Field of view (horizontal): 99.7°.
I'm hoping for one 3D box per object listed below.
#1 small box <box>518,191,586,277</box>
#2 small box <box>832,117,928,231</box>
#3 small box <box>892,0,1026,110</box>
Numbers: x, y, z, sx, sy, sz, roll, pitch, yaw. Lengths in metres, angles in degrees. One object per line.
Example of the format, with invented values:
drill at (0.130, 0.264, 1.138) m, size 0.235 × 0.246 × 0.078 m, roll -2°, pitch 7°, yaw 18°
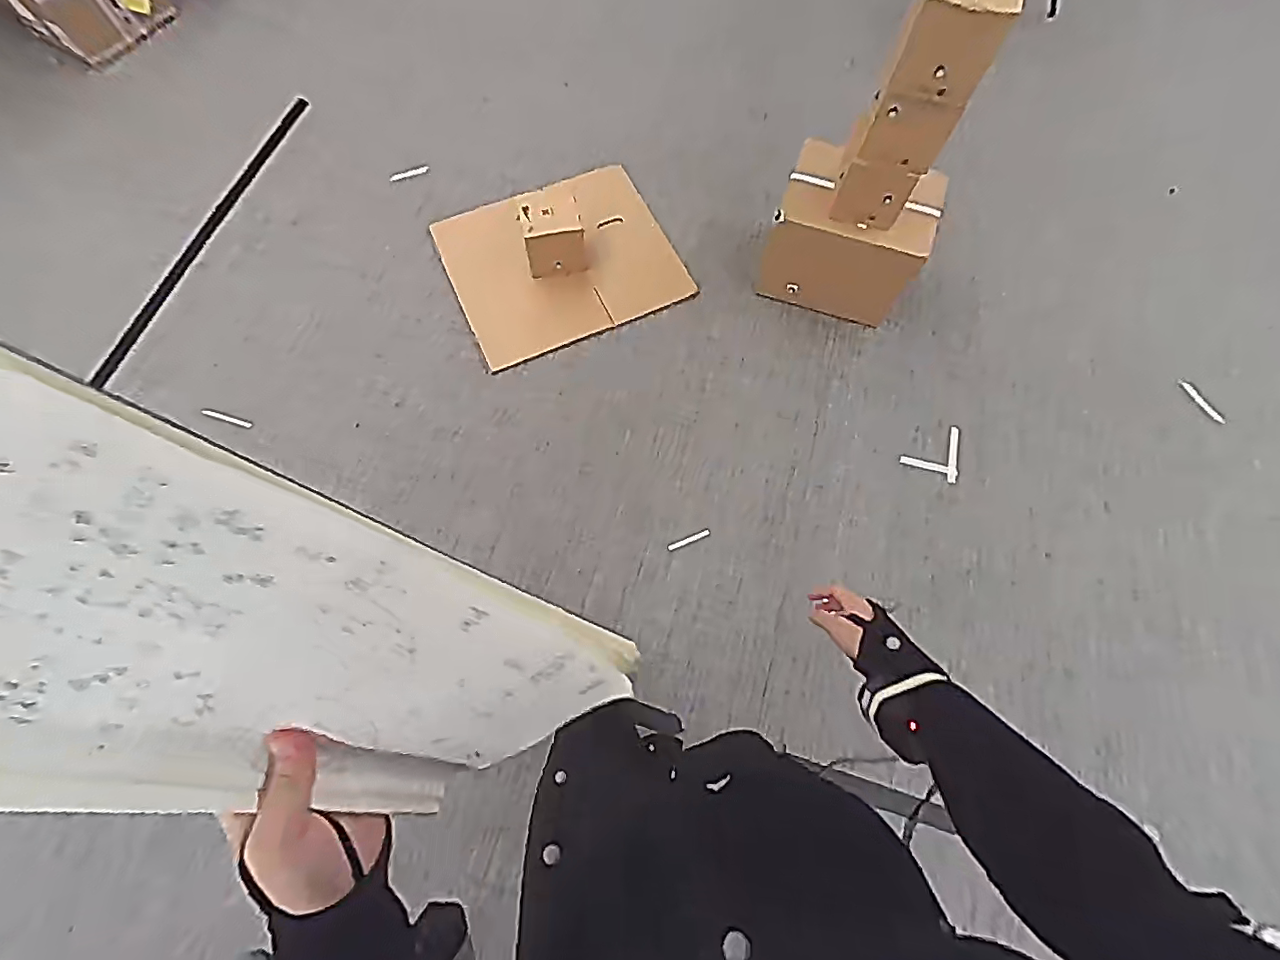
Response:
small box at (-0.267, -0.751, 1.659) m, size 0.179 × 0.176 × 0.168 m, roll -12°, pitch 70°, yaw -8°
small box at (0.599, -0.765, 1.365) m, size 0.168 × 0.176 × 0.179 m, roll 14°, pitch 70°, yaw 3°
small box at (0.616, -0.874, 1.054) m, size 0.168 × 0.176 × 0.179 m, roll 16°, pitch 71°, yaw 4°
